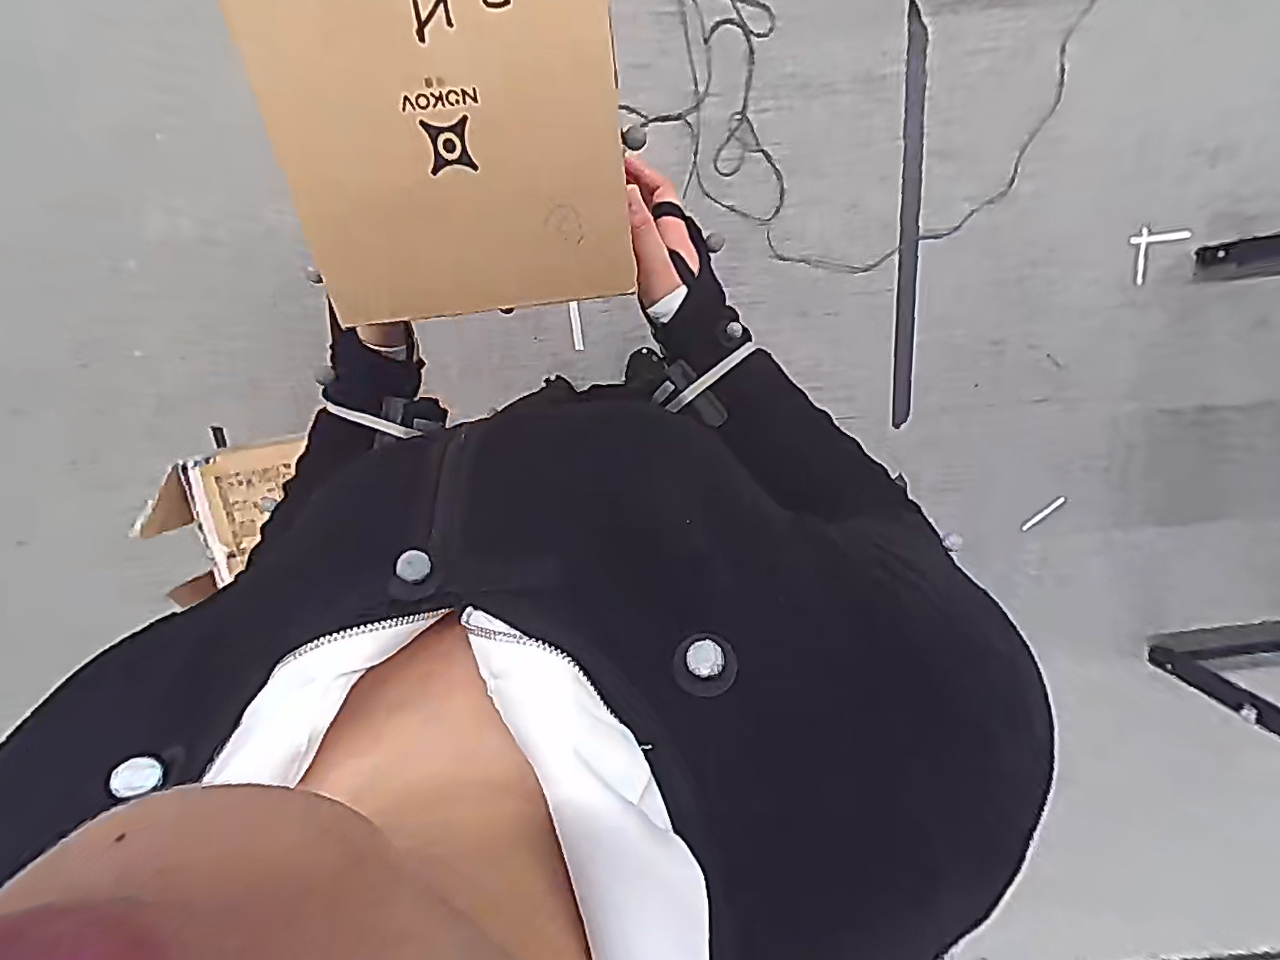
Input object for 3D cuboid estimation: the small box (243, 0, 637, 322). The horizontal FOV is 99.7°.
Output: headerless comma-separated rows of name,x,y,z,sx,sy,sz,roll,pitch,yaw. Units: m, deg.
small box,-0.093,-0.208,0.332,0.168,0.176,0.179,-7,117,-2
